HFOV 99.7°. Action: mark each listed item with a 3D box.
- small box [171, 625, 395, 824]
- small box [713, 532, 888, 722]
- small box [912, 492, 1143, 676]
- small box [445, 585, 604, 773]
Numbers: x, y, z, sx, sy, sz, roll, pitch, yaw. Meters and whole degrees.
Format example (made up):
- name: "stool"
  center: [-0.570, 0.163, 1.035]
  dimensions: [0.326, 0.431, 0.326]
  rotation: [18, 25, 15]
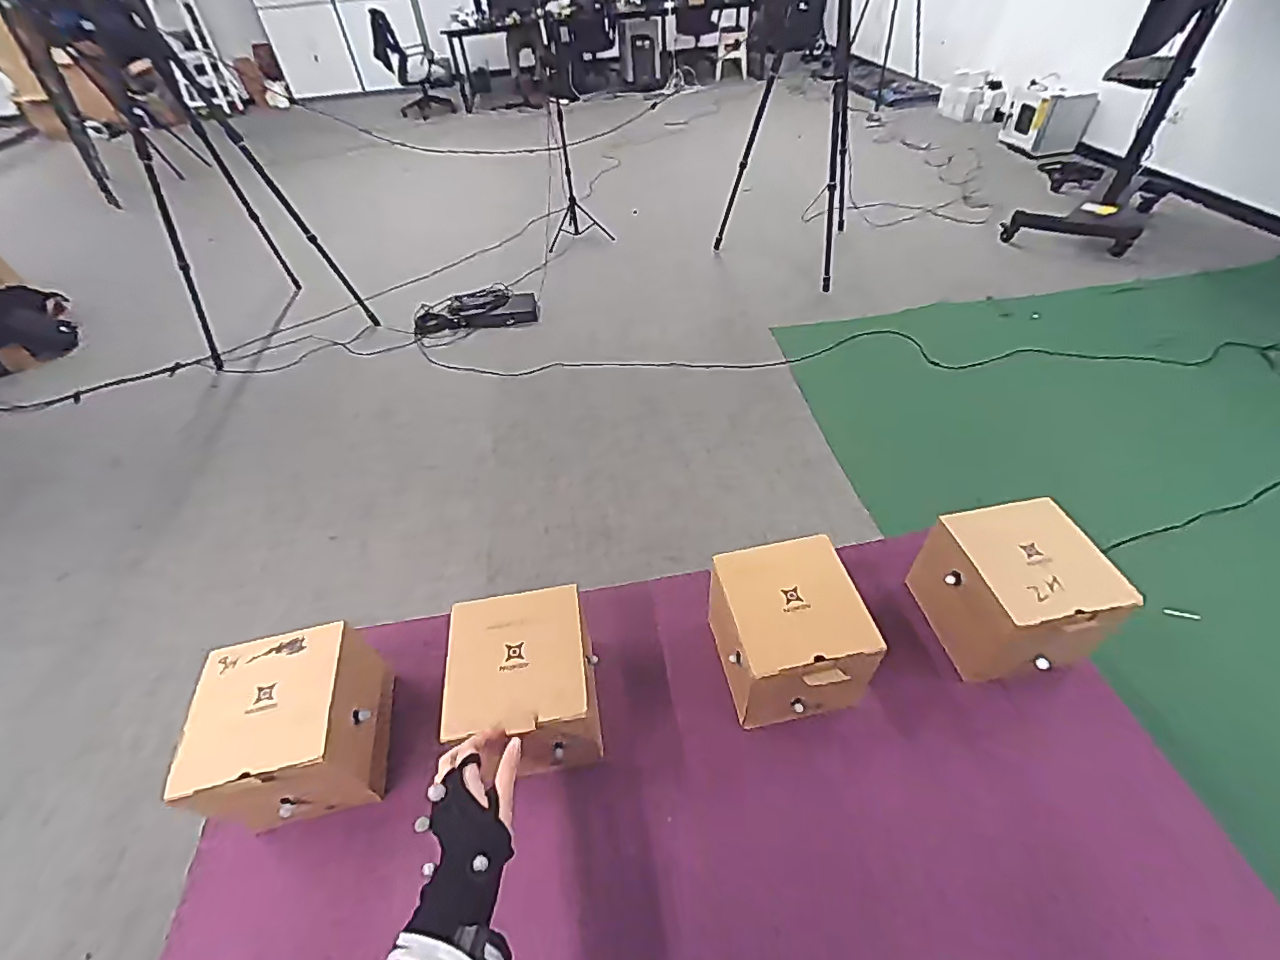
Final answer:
- name: "small box"
  center: [-0.430, 0.317, 0.691]
  dimensions: [0.168, 0.176, 0.179]
  rotation: [-12, 48, -7]
- name: "small box"
  center: [0.200, 0.201, 0.740]
  dimensions: [0.168, 0.176, 0.179]
  rotation: [-11, 47, -5]
- name: "small box"
  center: [0.513, 0.146, 0.754]
  dimensions: [0.168, 0.176, 0.179]
  rotation: [-10, 47, -2]
- name: "small box"
  center: [-0.142, 0.267, 0.712]
  dimensions: [0.168, 0.176, 0.179]
  rotation: [-8, 47, -4]
